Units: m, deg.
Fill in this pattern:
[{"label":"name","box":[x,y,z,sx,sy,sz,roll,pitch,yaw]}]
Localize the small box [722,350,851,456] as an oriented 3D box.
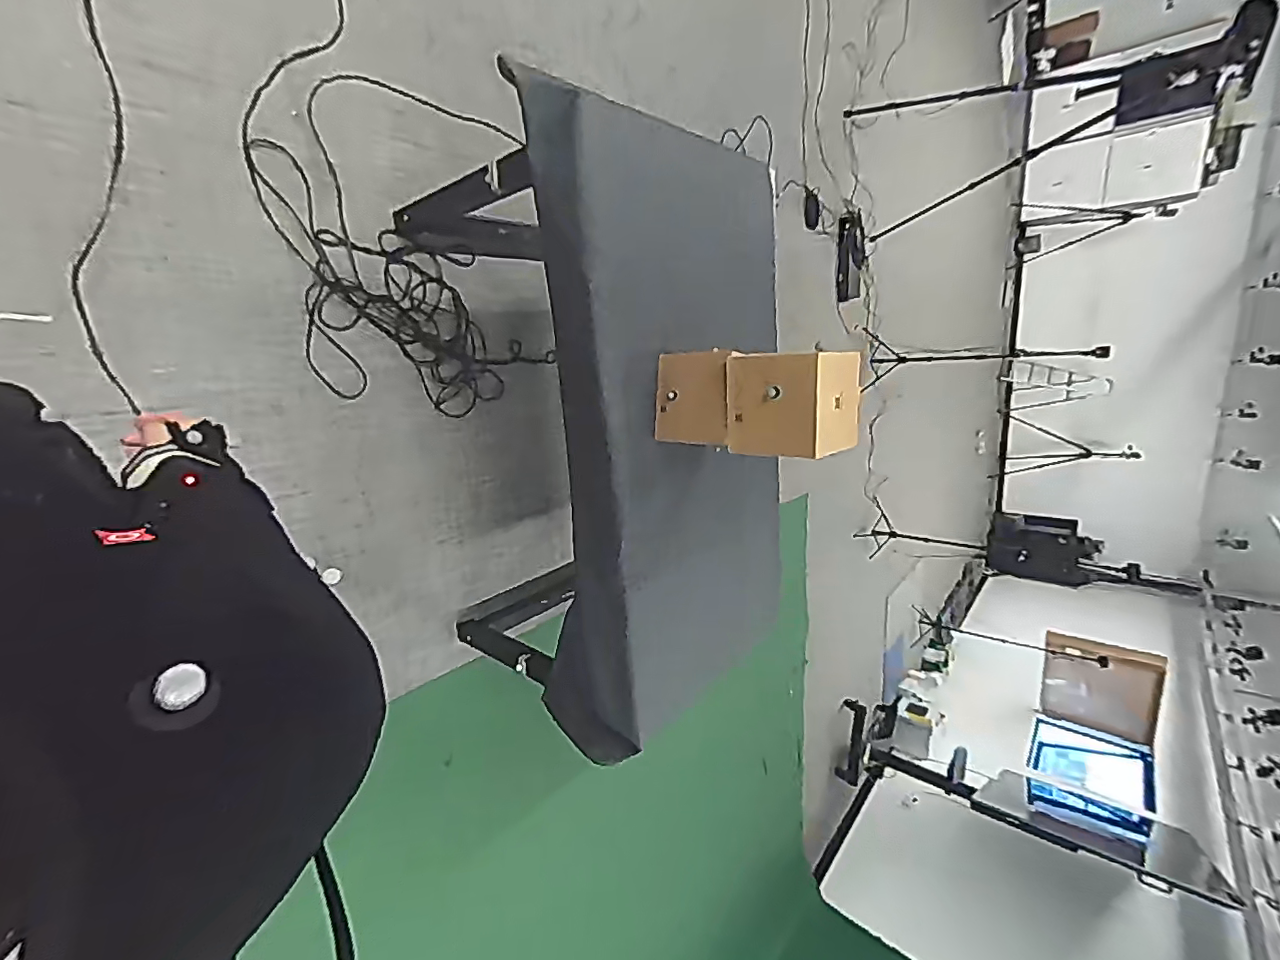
[{"label":"small box","box":[0.254,-0.136,0.946,0.179,0.176,0.168,-15,107,-48]}]
